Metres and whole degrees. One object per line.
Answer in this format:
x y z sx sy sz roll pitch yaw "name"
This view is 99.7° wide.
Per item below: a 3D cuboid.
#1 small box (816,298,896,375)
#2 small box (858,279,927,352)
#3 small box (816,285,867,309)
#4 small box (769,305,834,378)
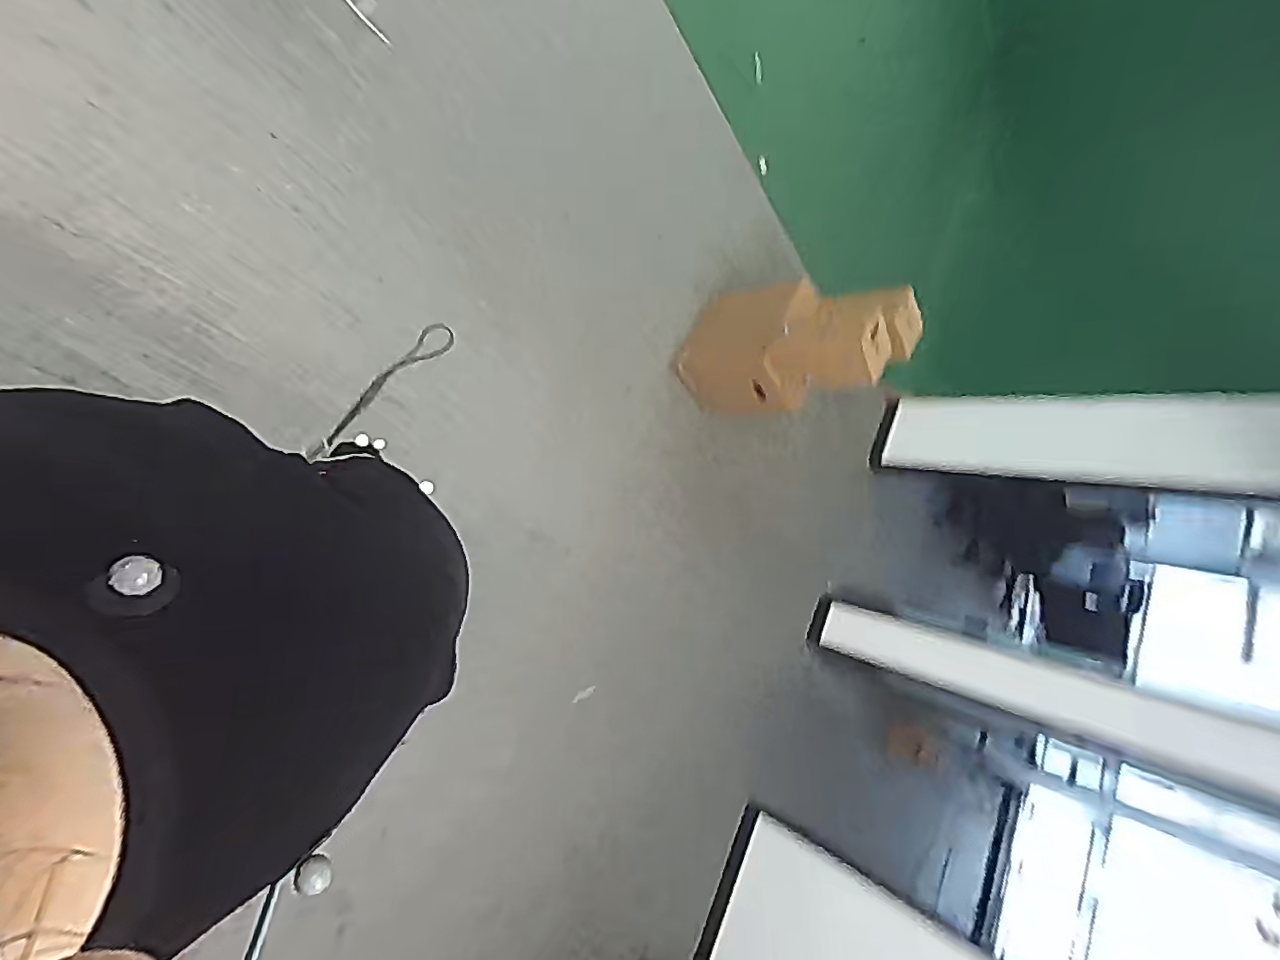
0.680 -0.445 1.709 0.168 0.176 0.179 -56 131 -22 "small box"
0.852 -0.556 1.851 0.179 0.176 0.168 47 65 -37 "small box"
0.745 -0.577 1.975 0.168 0.176 0.179 43 68 -38 "small box"
0.565 -0.464 1.825 0.179 0.176 0.168 47 65 -38 "small box"
